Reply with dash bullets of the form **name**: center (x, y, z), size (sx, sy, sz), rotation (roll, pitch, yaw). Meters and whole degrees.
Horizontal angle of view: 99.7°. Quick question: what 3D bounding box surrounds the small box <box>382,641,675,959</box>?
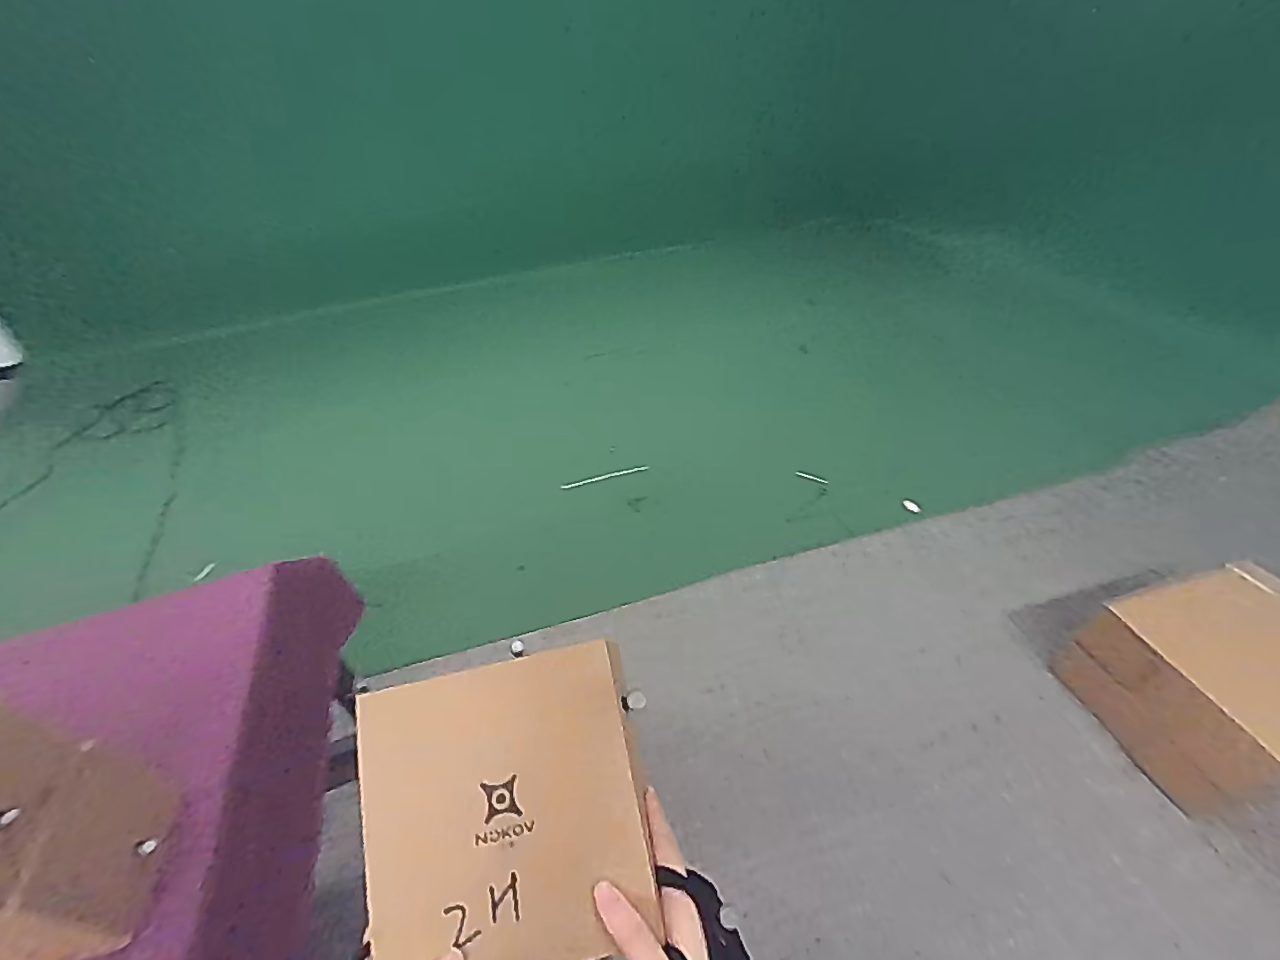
- **small box**: center (-0.074, 0.229, 0.412), size (0.168, 0.176, 0.179), rotation (-11, 73, -3)

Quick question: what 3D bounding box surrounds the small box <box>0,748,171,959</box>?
- **small box**: center (-0.704, 0.453, 0.627), size (0.168, 0.176, 0.179), rotation (-16, 42, -9)
